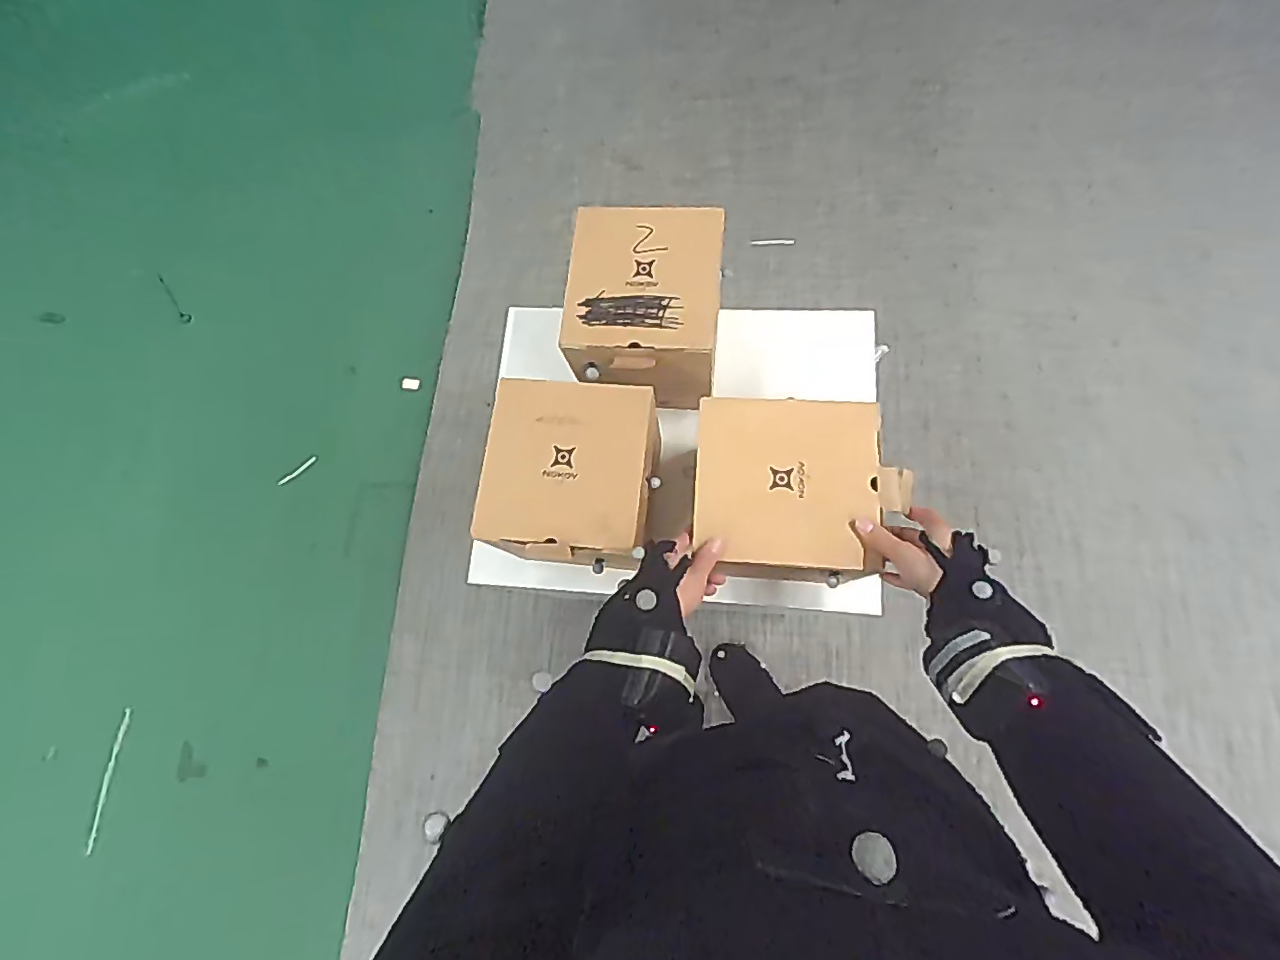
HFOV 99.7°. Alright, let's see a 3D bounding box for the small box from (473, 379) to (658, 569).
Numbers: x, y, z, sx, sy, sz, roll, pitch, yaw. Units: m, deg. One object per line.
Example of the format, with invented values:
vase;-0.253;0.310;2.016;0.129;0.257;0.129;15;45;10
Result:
small box;-0.070;0.003;0.621;0.168;0.176;0.179;4;74;6
